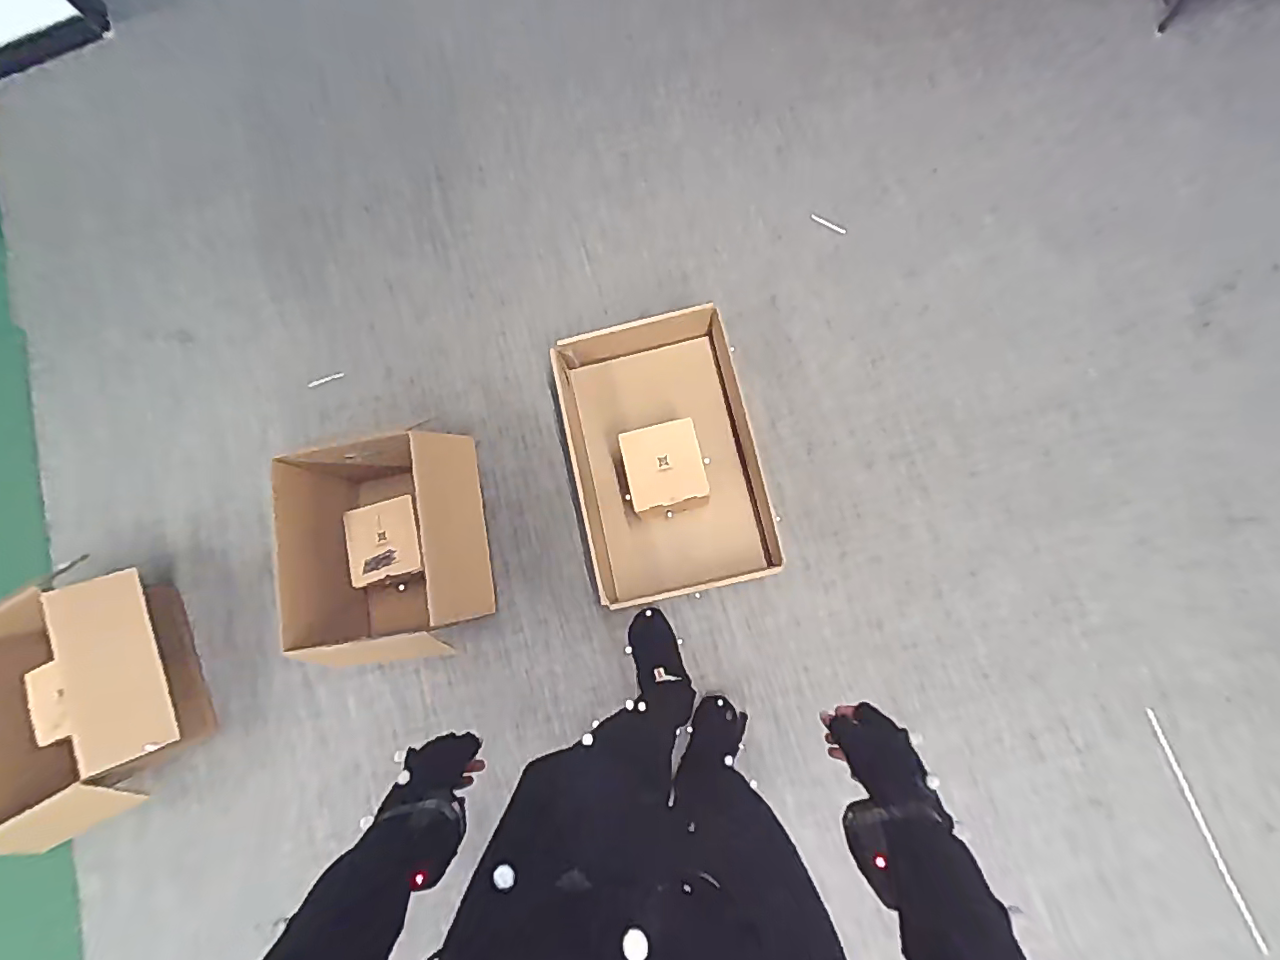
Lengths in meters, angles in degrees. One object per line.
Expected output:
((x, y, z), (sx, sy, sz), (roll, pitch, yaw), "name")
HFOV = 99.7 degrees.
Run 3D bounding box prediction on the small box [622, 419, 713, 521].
((0.062, -0.016, 1.221), (0.168, 0.176, 0.179), (-14, 79, 3), "small box")
